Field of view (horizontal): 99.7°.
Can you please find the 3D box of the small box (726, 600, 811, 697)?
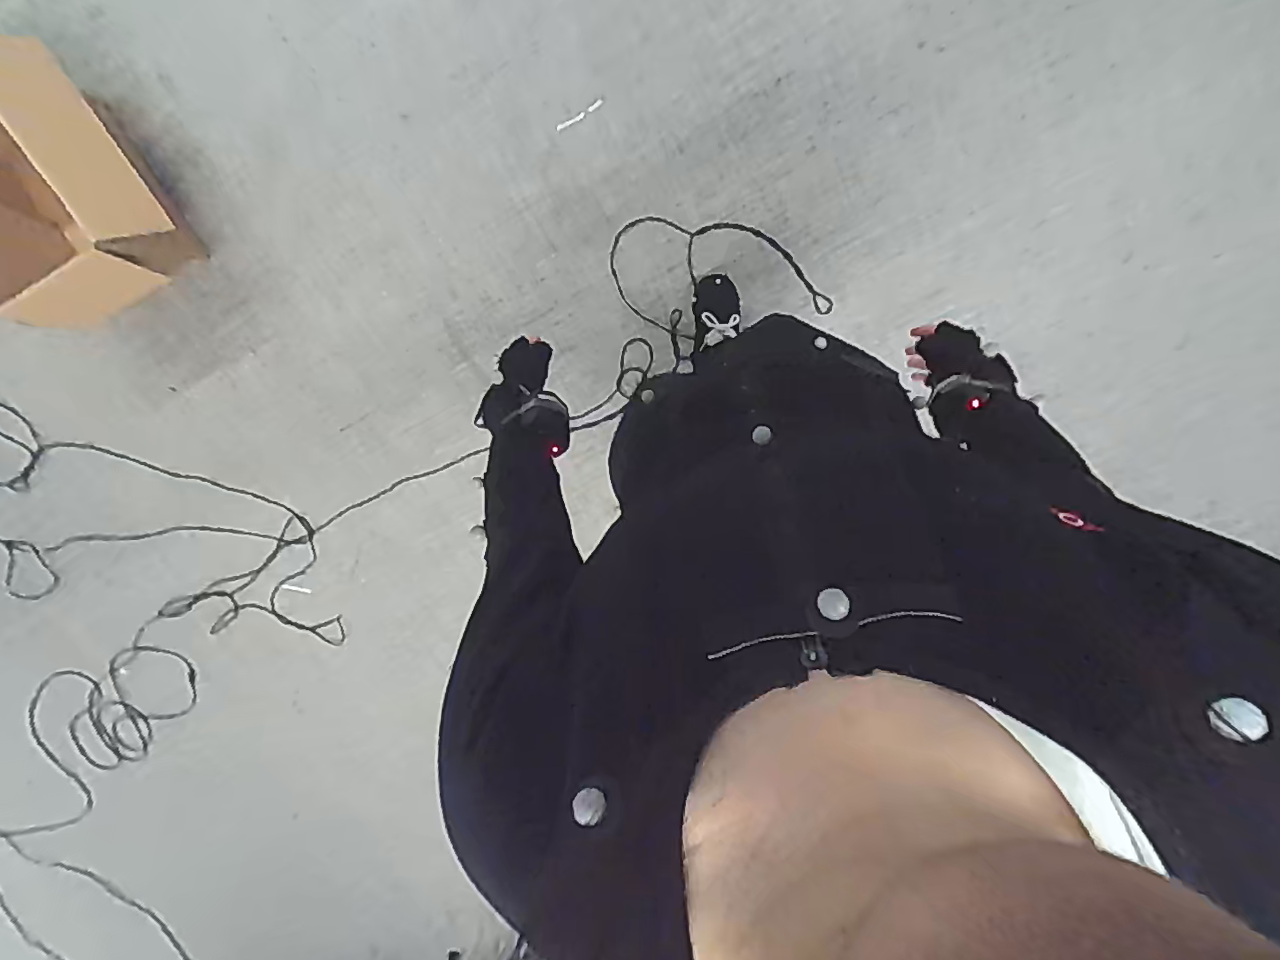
[{"bbox_3d":[0.358,0.476,1.546,0.179,0.176,0.168,-28,103,9],"label":"small box"}]
